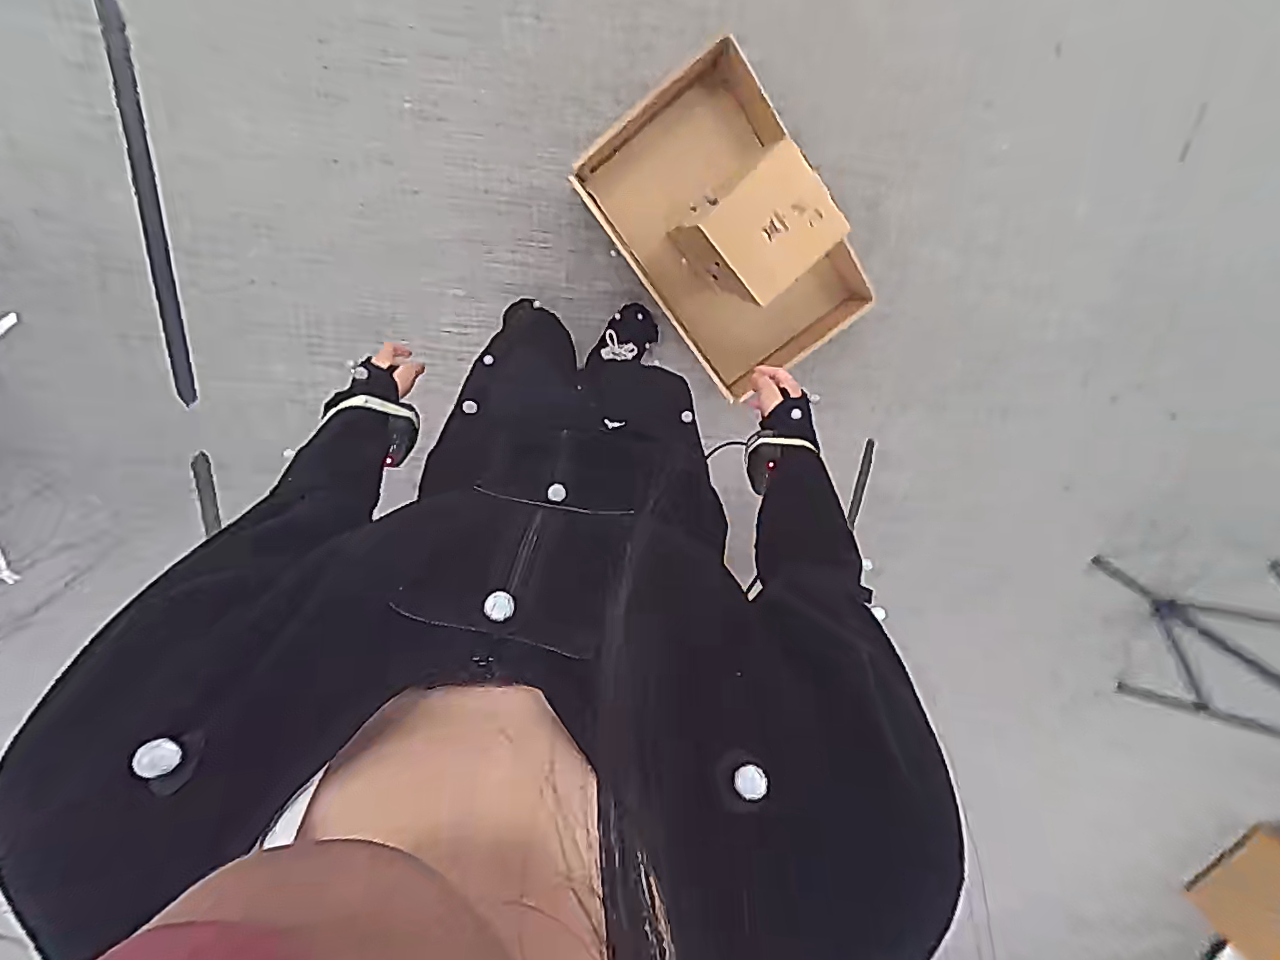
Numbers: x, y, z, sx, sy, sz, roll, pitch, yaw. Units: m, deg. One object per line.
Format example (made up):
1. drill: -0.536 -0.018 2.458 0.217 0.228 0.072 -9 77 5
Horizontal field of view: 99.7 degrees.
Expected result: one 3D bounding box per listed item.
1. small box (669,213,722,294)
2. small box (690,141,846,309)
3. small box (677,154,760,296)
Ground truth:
1. small box: 0.180 -0.538 1.194 0.179 0.176 0.168 -35 110 12
2. small box: 0.197 -0.412 0.892 0.179 0.176 0.168 -40 111 13
3. small box: 0.186 -0.482 1.043 0.179 0.176 0.168 -41 110 12
